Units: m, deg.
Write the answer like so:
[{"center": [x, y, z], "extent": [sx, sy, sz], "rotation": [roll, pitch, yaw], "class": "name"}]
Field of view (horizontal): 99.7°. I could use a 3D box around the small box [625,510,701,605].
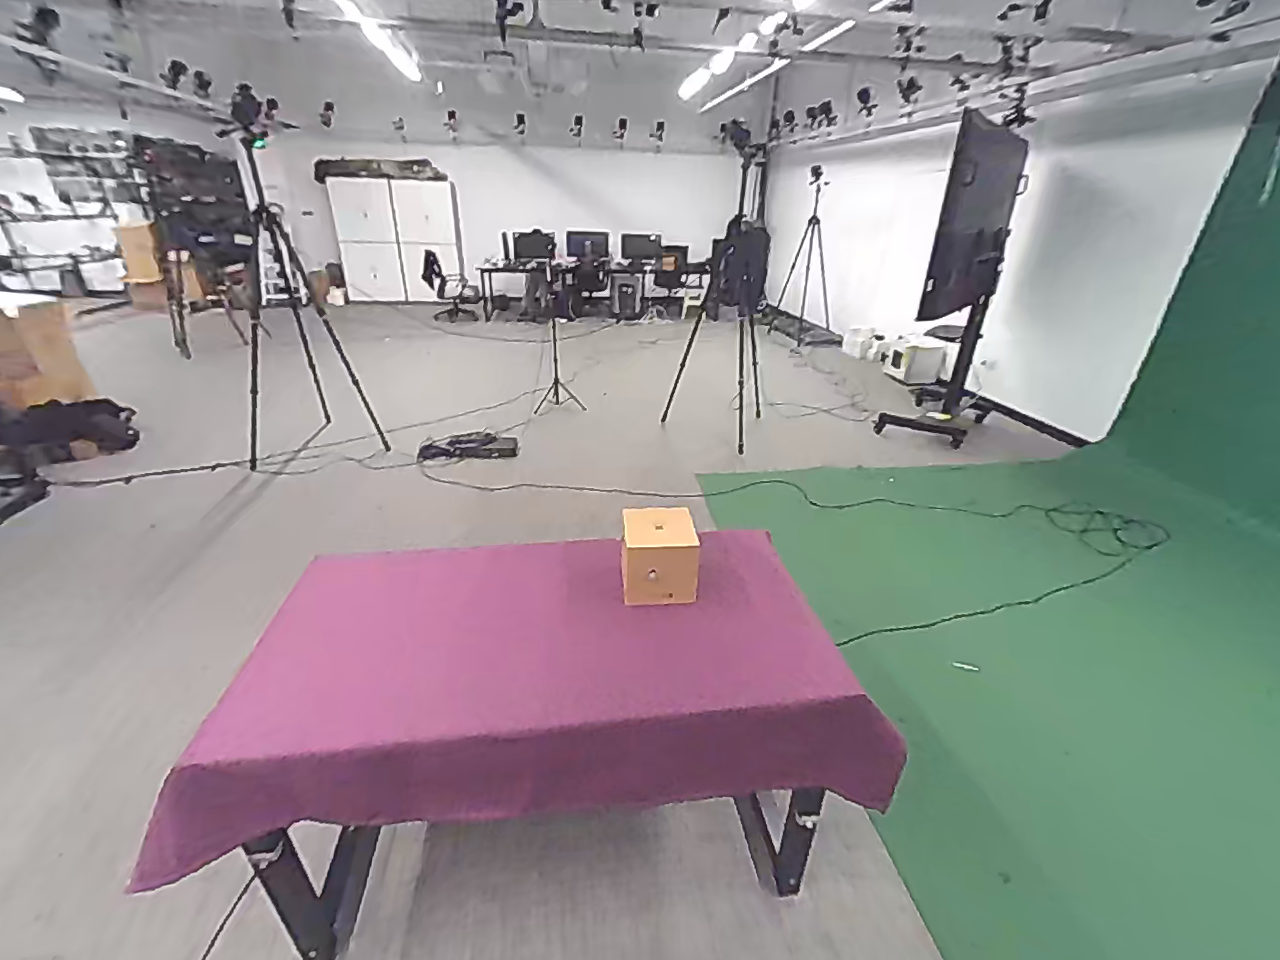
[{"center": [0.051, 0.189, 1.303], "extent": [0.168, 0.176, 0.179], "rotation": [-2, 26, -4], "class": "small box"}]
